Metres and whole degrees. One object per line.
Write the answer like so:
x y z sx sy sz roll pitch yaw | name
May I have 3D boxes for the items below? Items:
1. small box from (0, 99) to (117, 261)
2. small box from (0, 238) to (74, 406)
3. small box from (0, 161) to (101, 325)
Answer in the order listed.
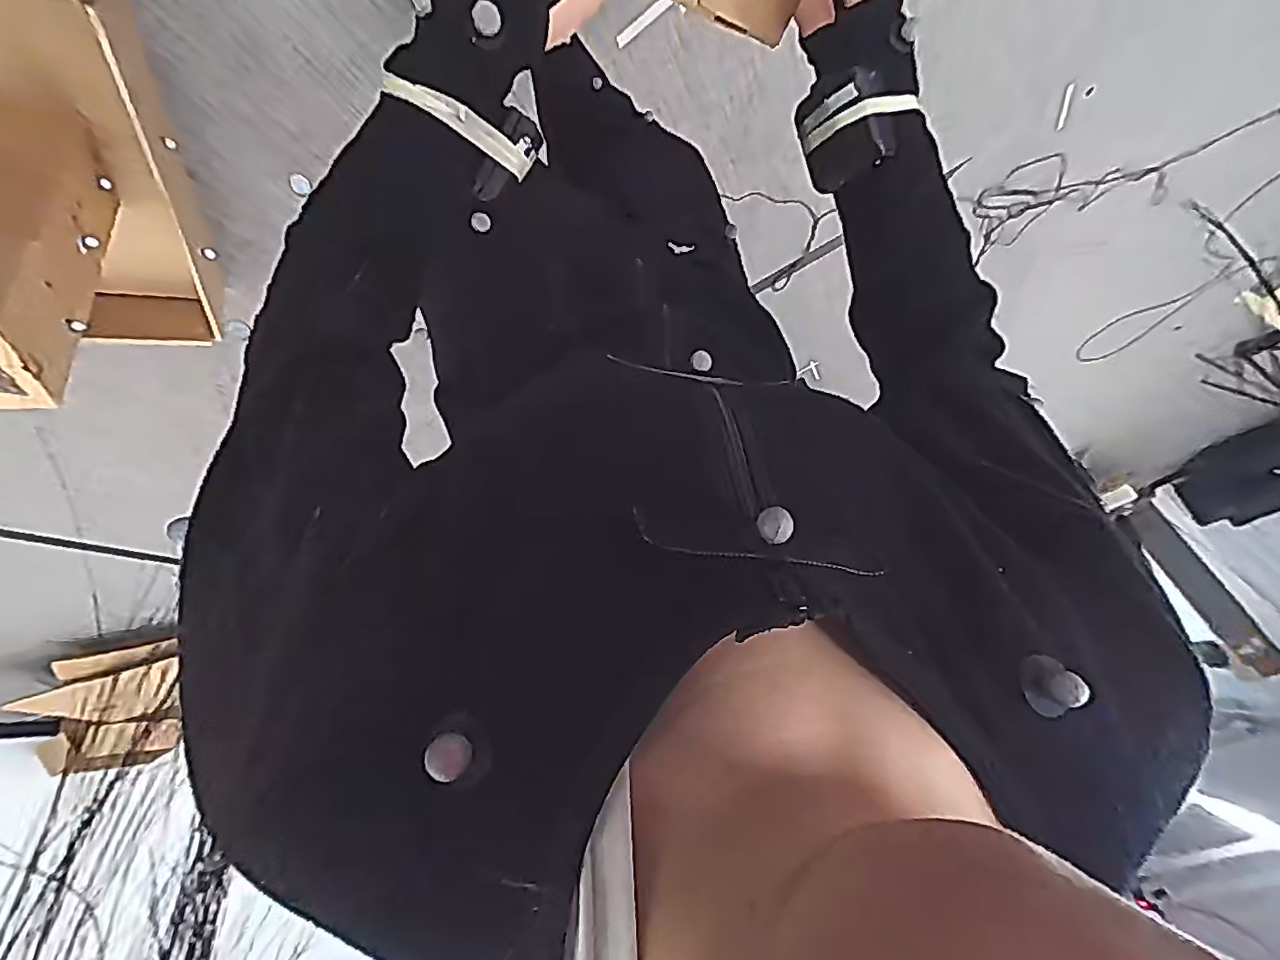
-1.004 -0.490 0.879 0.179 0.176 0.168 -3 149 -28 | small box
-0.915 -0.216 0.725 0.179 0.176 0.168 -3 149 -25 | small box
-0.957 -0.355 0.802 0.179 0.176 0.168 -5 150 -27 | small box
